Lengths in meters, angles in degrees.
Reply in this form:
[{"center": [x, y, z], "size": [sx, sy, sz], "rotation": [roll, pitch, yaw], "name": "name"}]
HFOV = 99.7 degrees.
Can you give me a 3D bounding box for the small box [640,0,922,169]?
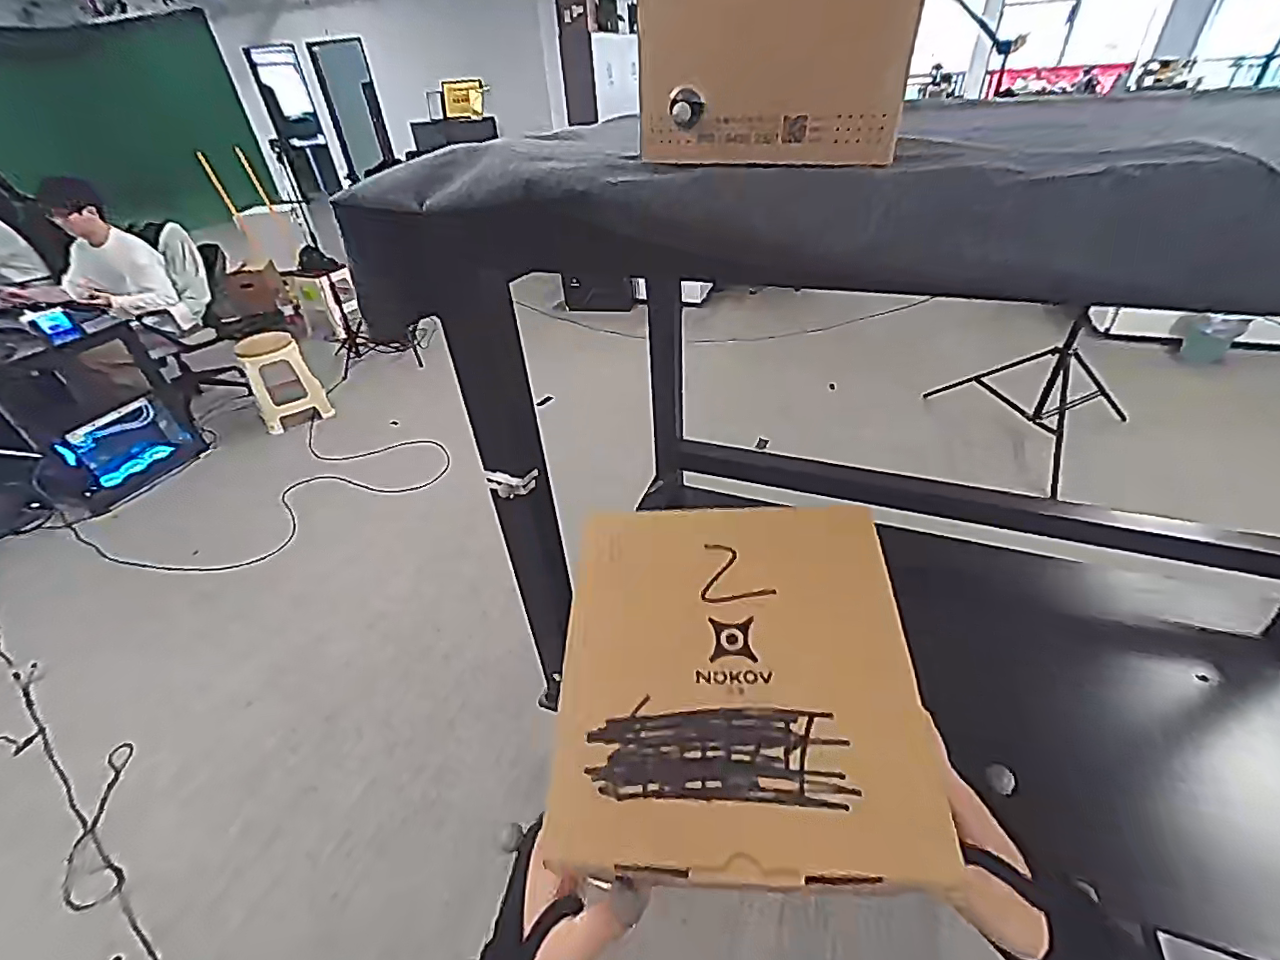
[{"center": [0.102, -0.319, 0.374], "size": [0.168, 0.176, 0.179], "rotation": [10, 37, 16], "name": "small box"}]
